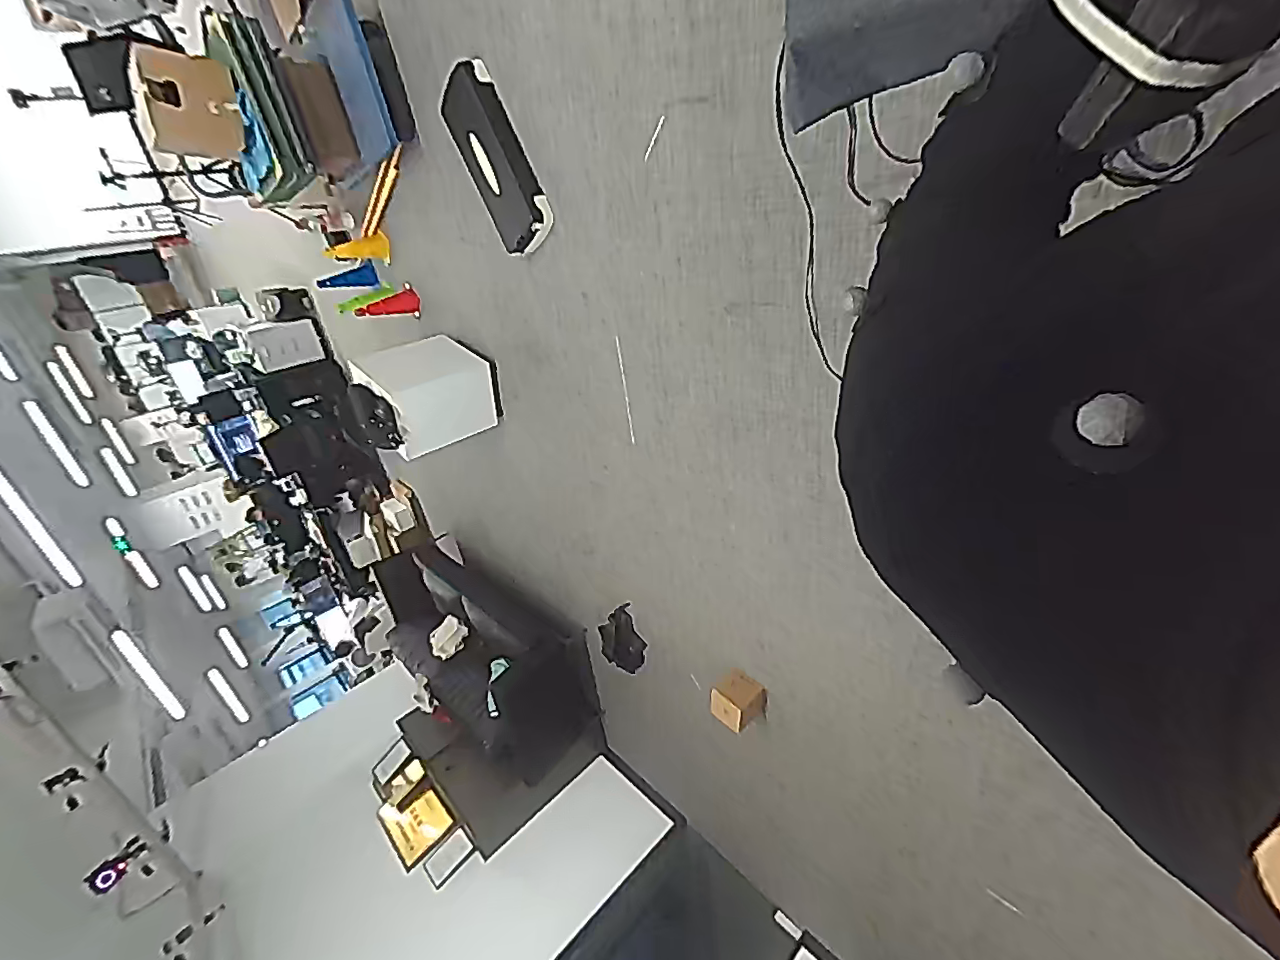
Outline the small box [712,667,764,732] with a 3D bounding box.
[{"bbox_3d":[0.445,0.986,2.442,0.168,0.176,0.179,29,135,40],"label":"small box"}]
